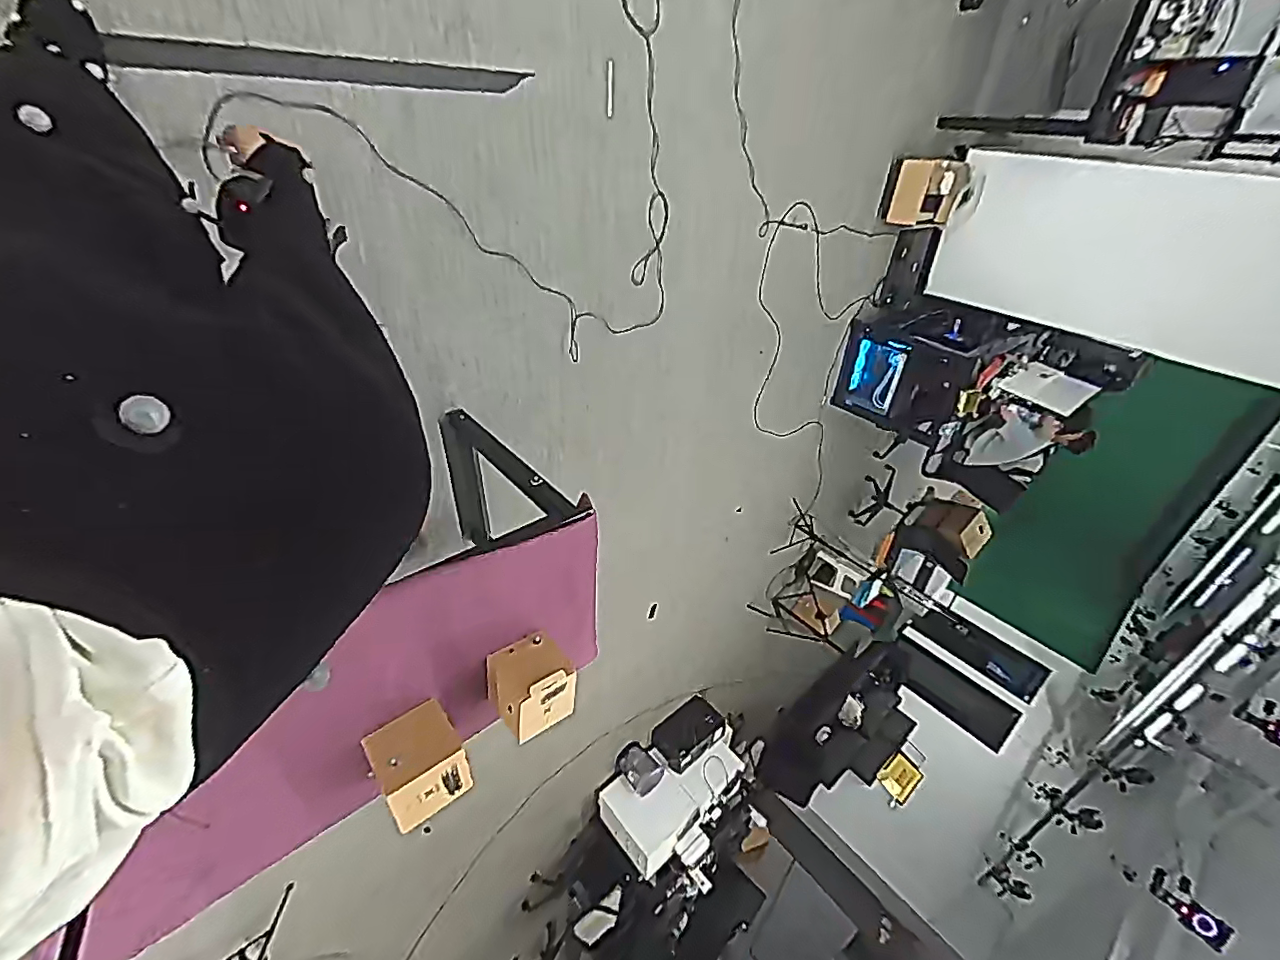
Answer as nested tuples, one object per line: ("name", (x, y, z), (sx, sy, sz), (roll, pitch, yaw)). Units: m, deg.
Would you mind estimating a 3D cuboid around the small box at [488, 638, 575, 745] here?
("small box", (-0.288, 0.542, 1.420), (0.168, 0.176, 0.179), (-19, 130, -37))
